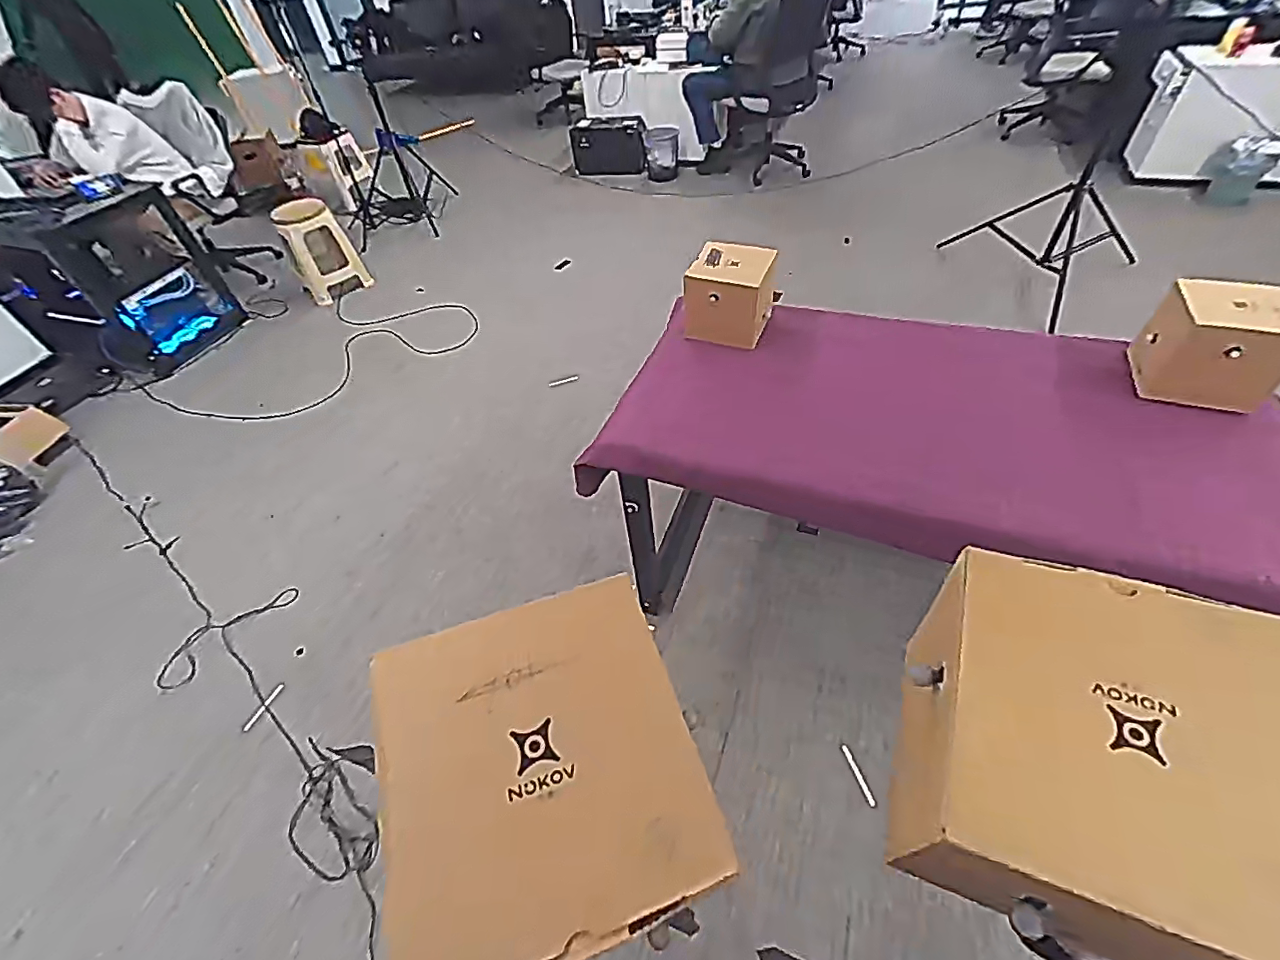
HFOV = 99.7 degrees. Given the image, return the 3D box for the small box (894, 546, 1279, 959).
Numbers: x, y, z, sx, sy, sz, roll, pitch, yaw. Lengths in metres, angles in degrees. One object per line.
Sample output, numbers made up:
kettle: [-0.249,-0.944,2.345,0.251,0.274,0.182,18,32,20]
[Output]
small box: [0.269,0.174,0.340,0.168,0.176,0.179,12,55,21]

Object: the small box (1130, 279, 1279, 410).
small box: [1.076,-0.254,1.022,0.179,0.176,0.168,14,52,18]

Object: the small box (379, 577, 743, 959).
small box: [-0.052,0.198,0.356,0.168,0.176,0.179,-16,53,-13]

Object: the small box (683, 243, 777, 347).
small box: [0.214,-0.440,1.293,0.179,0.176,0.168,16,54,18]
